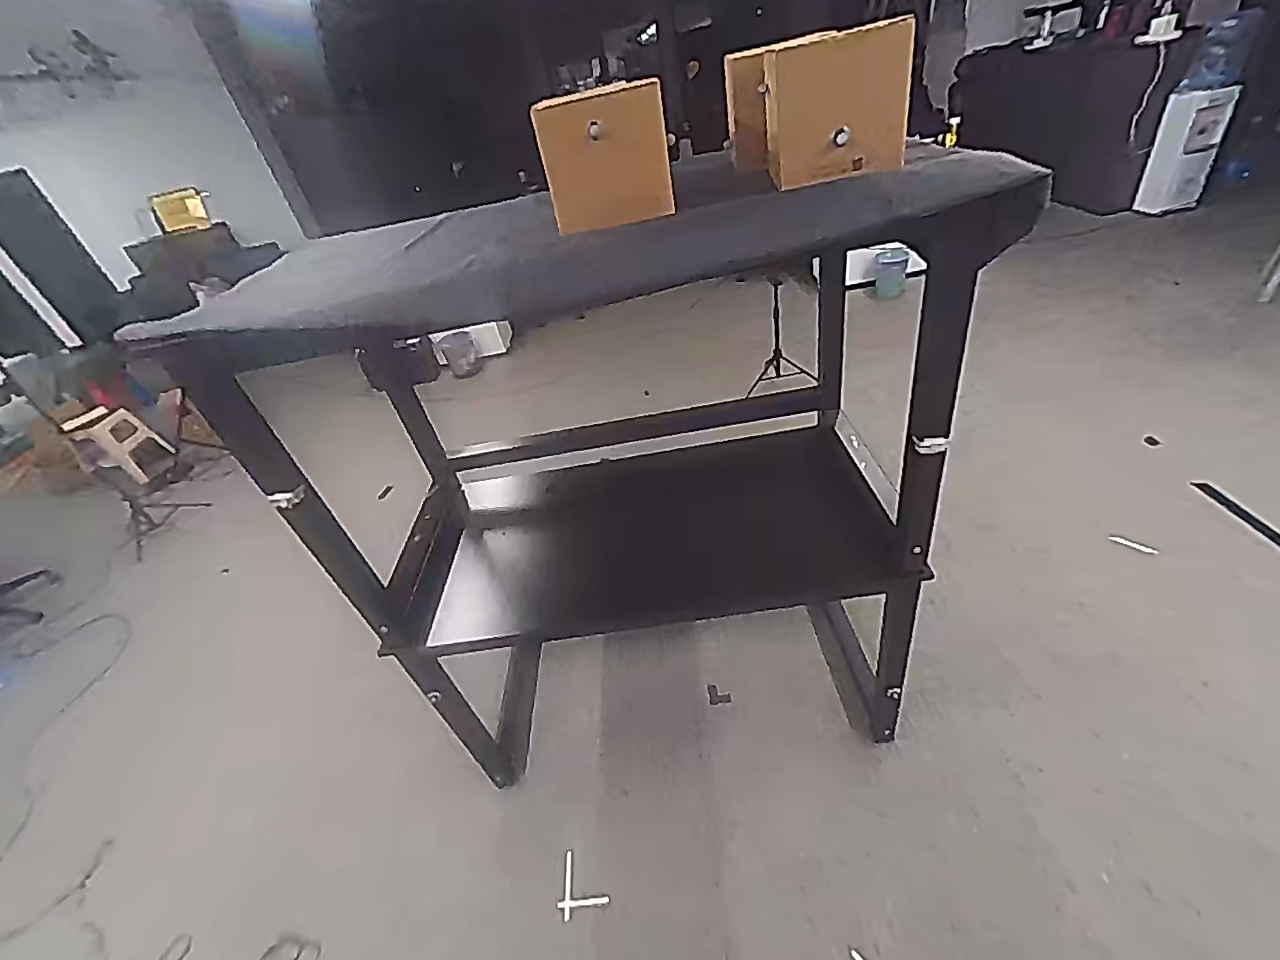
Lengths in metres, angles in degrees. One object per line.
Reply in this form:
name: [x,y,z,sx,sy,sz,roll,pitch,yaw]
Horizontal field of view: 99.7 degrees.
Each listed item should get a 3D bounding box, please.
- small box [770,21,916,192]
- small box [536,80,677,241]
small box: [0.278,-0.531,0.779,0.168,0.176,0.179,-6,37,11]
small box: [-0.041,-0.483,0.819,0.179,0.176,0.168,-10,37,5]
